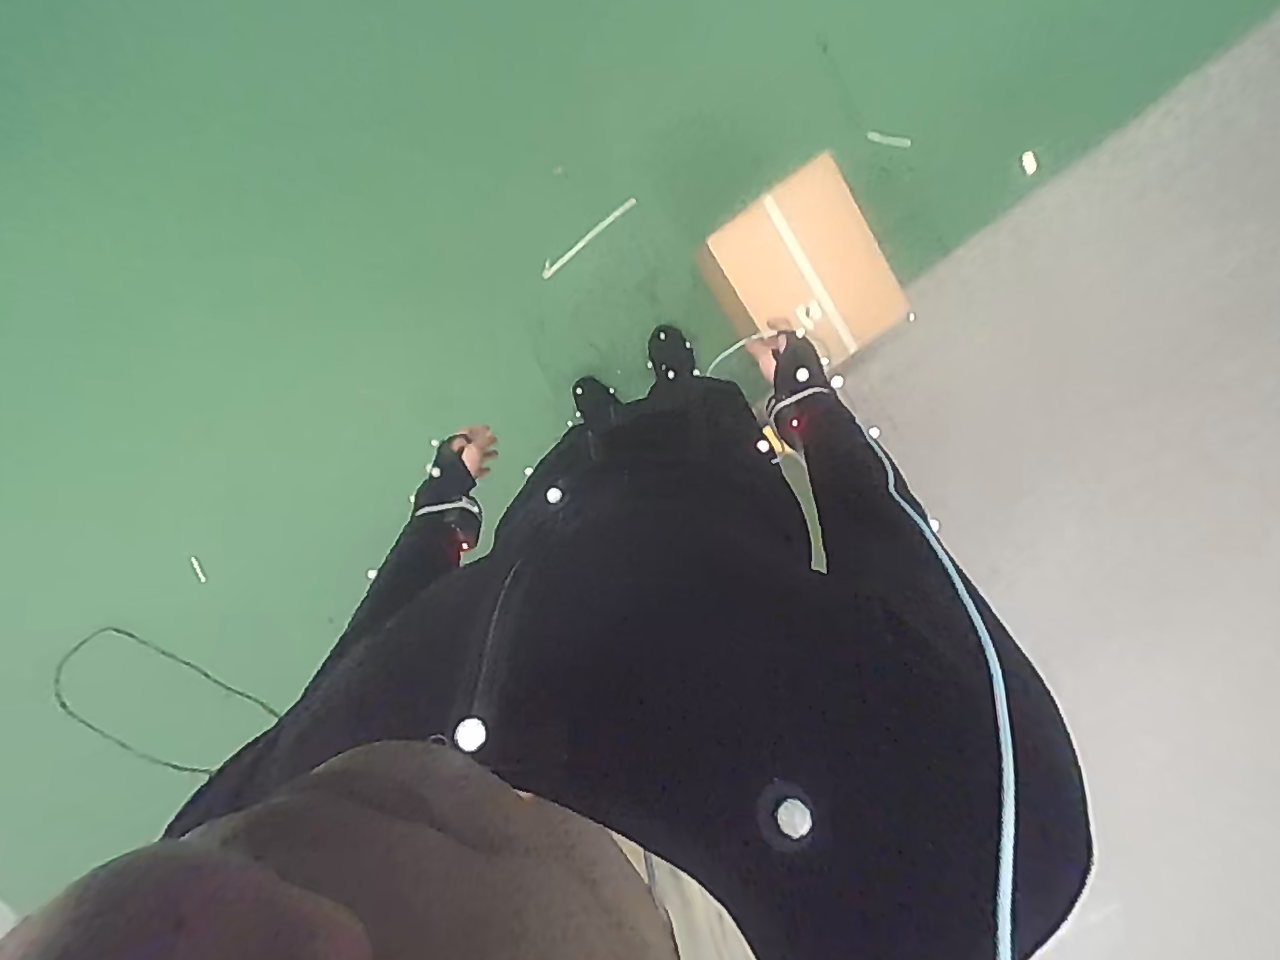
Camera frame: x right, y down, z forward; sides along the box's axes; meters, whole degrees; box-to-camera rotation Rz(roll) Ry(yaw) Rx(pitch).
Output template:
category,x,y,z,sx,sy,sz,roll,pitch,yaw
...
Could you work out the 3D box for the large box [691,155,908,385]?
category,x,y,z,sx,sy,sz,roll,pitch,yaw
large box,0.377,-0.504,1.363,0.320,0.320,0.408,-34,104,9
